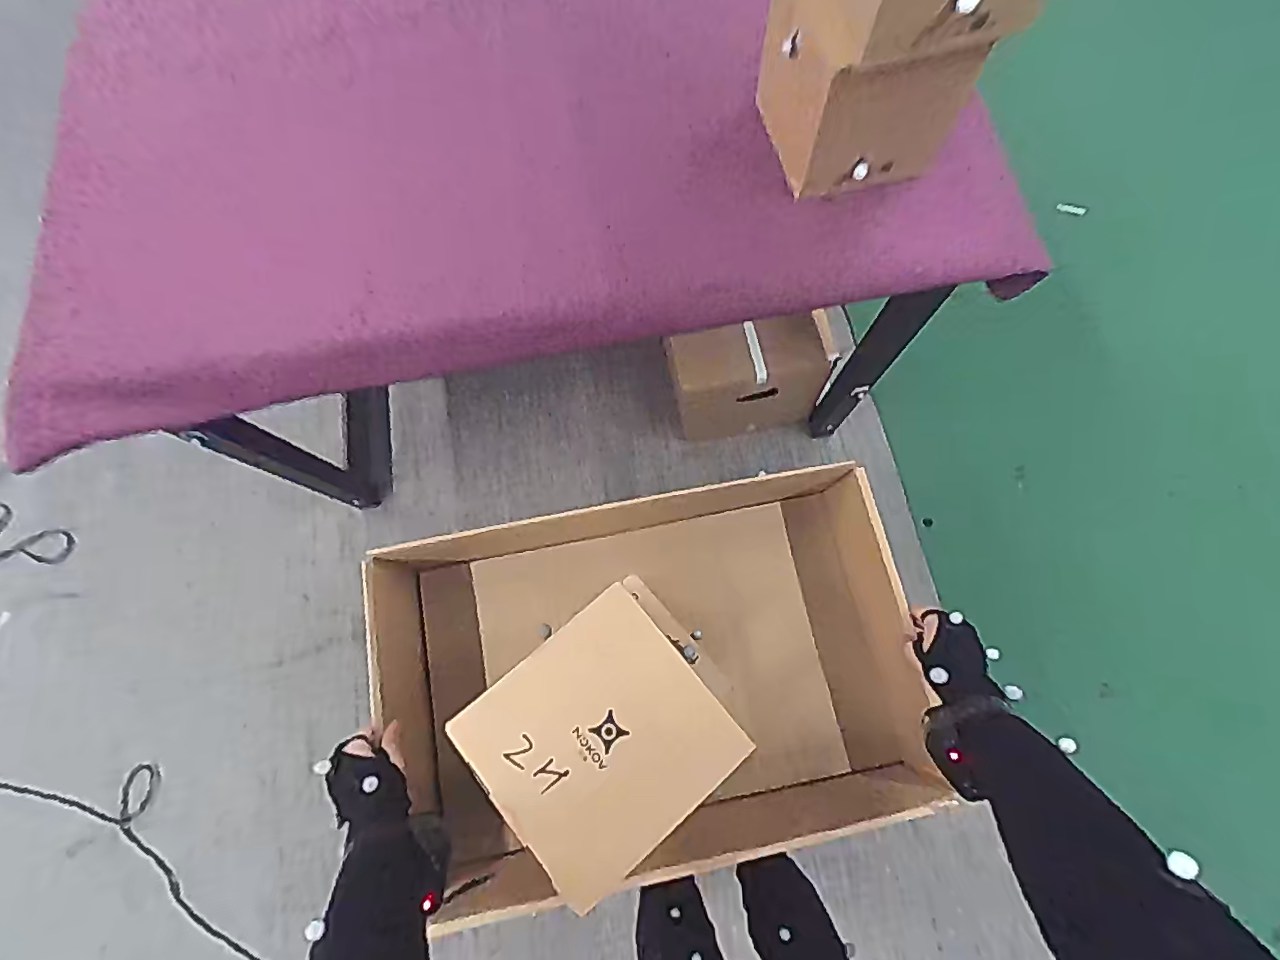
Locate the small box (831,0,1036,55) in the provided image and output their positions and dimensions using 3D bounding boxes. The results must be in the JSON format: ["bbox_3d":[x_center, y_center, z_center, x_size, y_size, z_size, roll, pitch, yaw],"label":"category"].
[{"bbox_3d":[0.248,-0.496,0.431,0.168,0.176,0.179,-13,74,1],"label":"small box"}]

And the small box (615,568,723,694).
[{"bbox_3d":[-0.027,0.229,0.651,0.179,0.176,0.168,-40,81,-10],"label":"small box"}]

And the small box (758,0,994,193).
[{"bbox_3d":[0.238,-0.458,0.592,0.168,0.176,0.179,-13,73,0],"label":"small box"}]

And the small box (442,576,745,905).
[{"bbox_3d":[-0.037,0.208,0.486,0.179,0.176,0.168,-39,79,-9],"label":"small box"}]
